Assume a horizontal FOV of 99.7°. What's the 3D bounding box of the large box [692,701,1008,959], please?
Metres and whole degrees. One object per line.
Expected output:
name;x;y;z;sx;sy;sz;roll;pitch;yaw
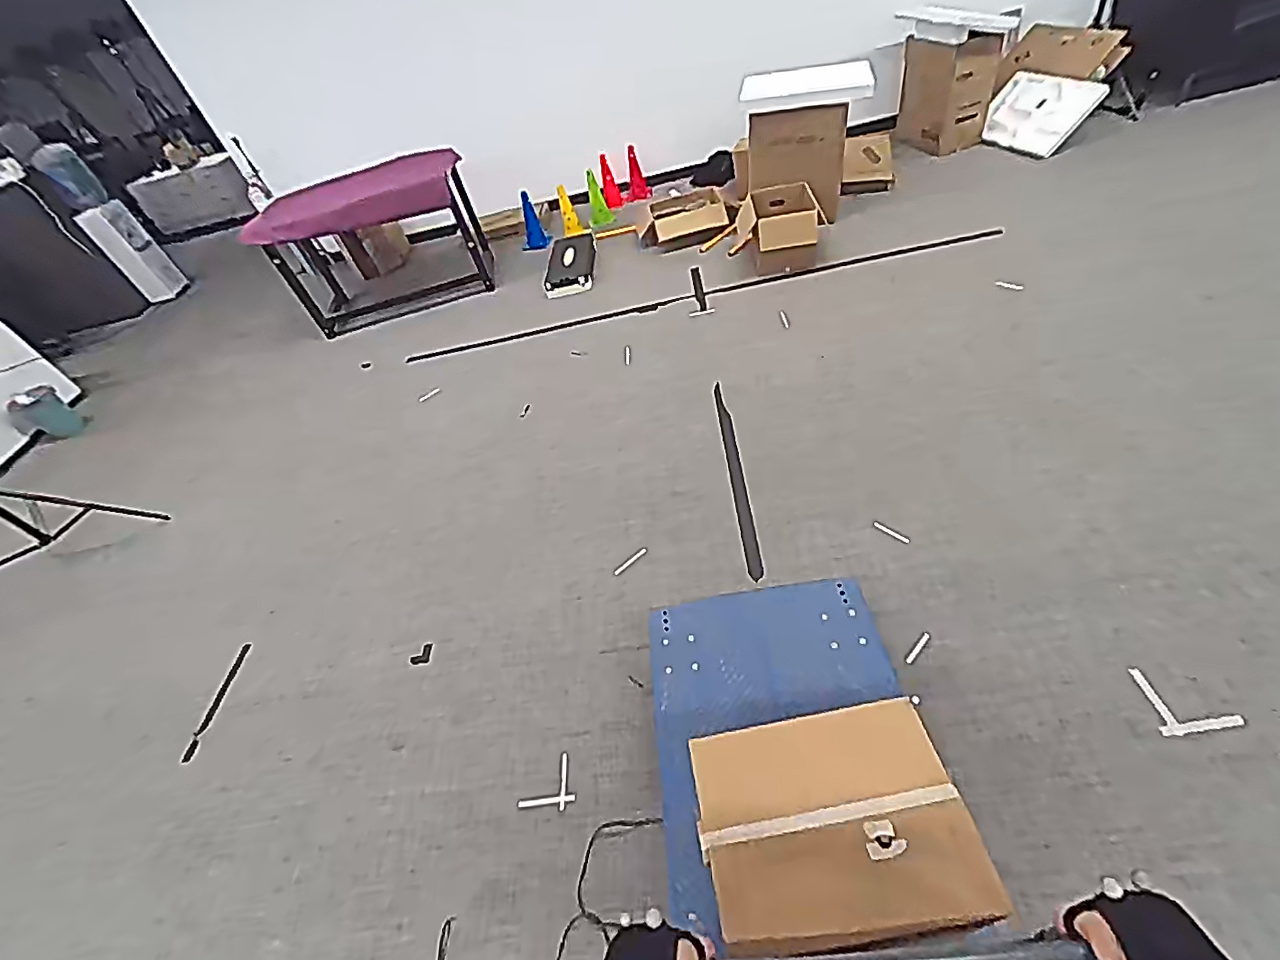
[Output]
large box;0.330;0.647;0.969;0.408;0.320;0.320;-12;45;2
